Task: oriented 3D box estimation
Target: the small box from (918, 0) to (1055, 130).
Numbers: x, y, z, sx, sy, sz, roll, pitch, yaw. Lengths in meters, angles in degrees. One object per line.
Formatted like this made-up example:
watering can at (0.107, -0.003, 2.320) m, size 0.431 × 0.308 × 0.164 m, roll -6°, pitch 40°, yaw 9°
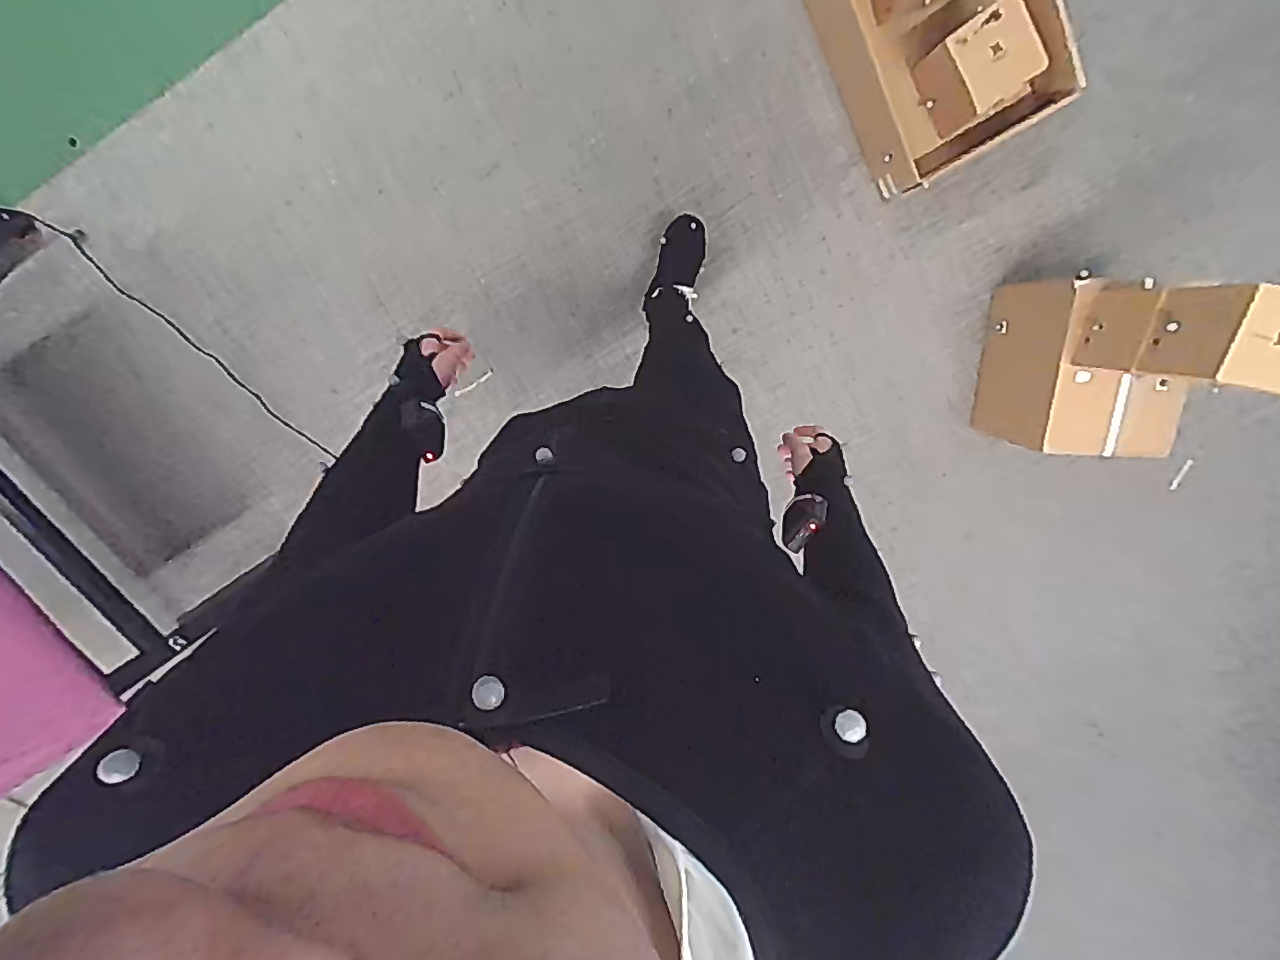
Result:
small box at (0.771, -0.928, 1.219) m, size 0.168 × 0.176 × 0.179 m, roll -33°, pitch 104°, yaw 10°

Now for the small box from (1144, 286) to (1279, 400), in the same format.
small box at (1.088, -0.244, 0.972) m, size 0.179 × 0.176 × 0.168 m, roll 11°, pitch 106°, yaw -1°
